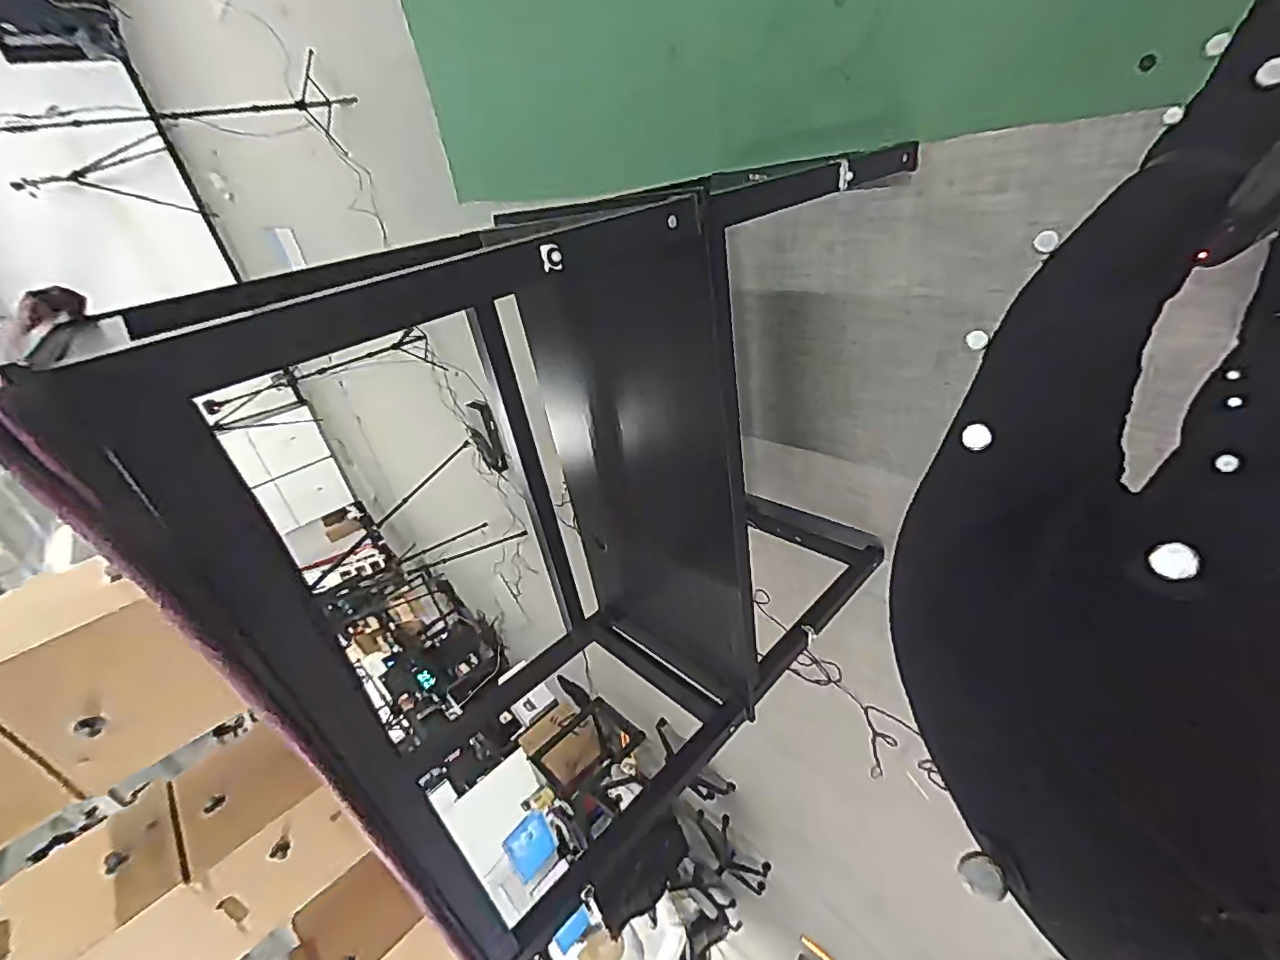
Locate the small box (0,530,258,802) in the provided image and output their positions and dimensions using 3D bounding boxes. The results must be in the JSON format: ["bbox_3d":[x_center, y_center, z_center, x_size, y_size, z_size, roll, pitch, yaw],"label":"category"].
[{"bbox_3d":[-0.548,0.185,0.582,0.168,0.176,0.179,23,134,45],"label":"small box"}]

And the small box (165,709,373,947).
[{"bbox_3d":[-0.489,0.454,0.731,0.179,0.176,0.168,24,133,43],"label":"small box"}]

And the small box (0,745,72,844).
[{"bbox_3d":[-0.671,0.257,0.503,0.168,0.176,0.179,24,134,45],"label":"small box"}]

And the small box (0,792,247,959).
[{"bbox_3d":[-0.608,0.526,0.643,0.168,0.176,0.179,23,133,41],"label":"small box"}]
